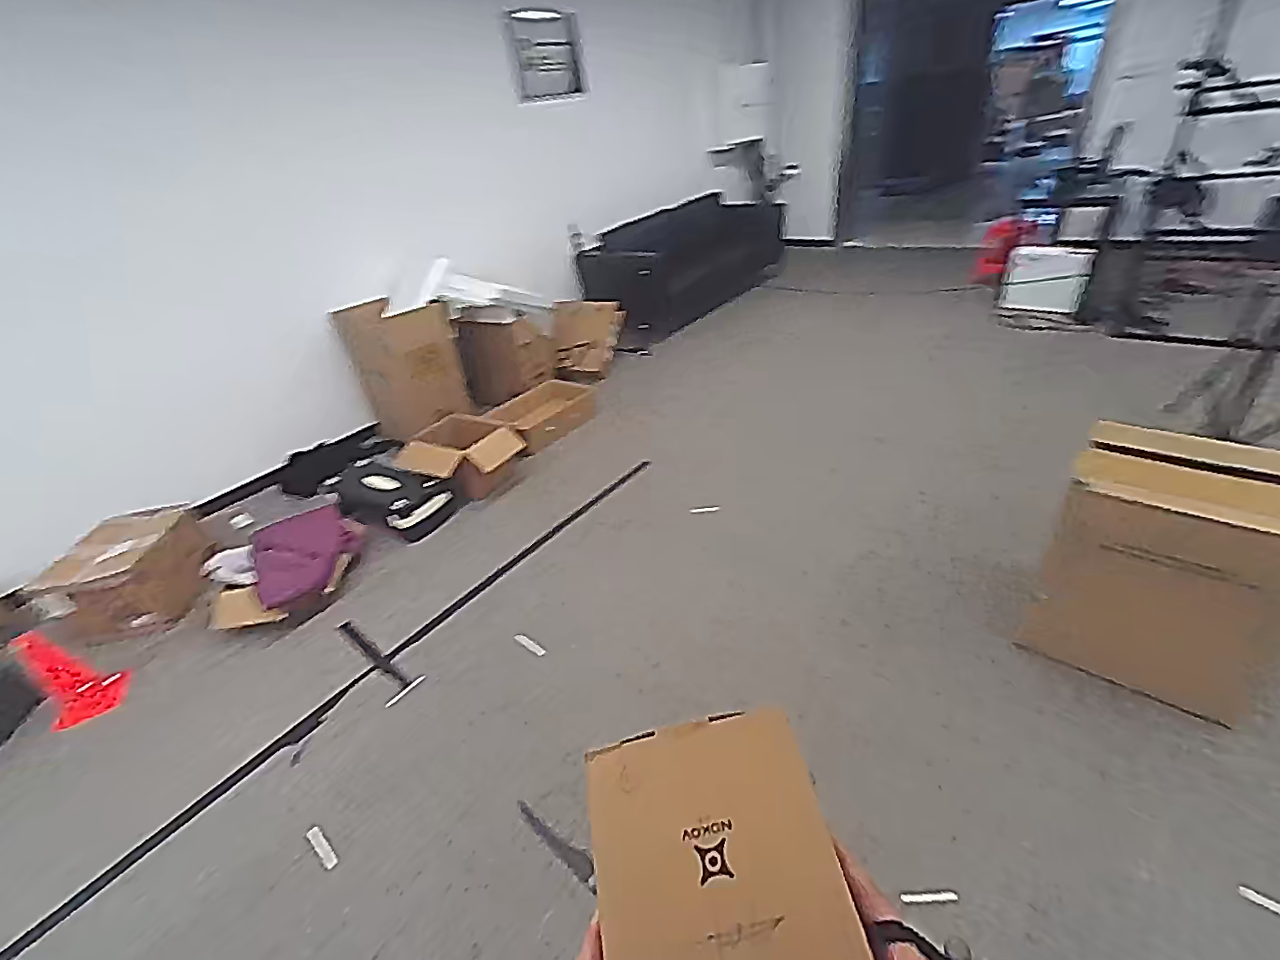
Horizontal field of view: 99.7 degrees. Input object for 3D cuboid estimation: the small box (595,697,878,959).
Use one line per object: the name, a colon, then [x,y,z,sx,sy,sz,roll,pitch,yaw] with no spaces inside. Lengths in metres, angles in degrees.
small box: [0.067,0.306,0.438,0.168,0.176,0.179,-14,48,1]
